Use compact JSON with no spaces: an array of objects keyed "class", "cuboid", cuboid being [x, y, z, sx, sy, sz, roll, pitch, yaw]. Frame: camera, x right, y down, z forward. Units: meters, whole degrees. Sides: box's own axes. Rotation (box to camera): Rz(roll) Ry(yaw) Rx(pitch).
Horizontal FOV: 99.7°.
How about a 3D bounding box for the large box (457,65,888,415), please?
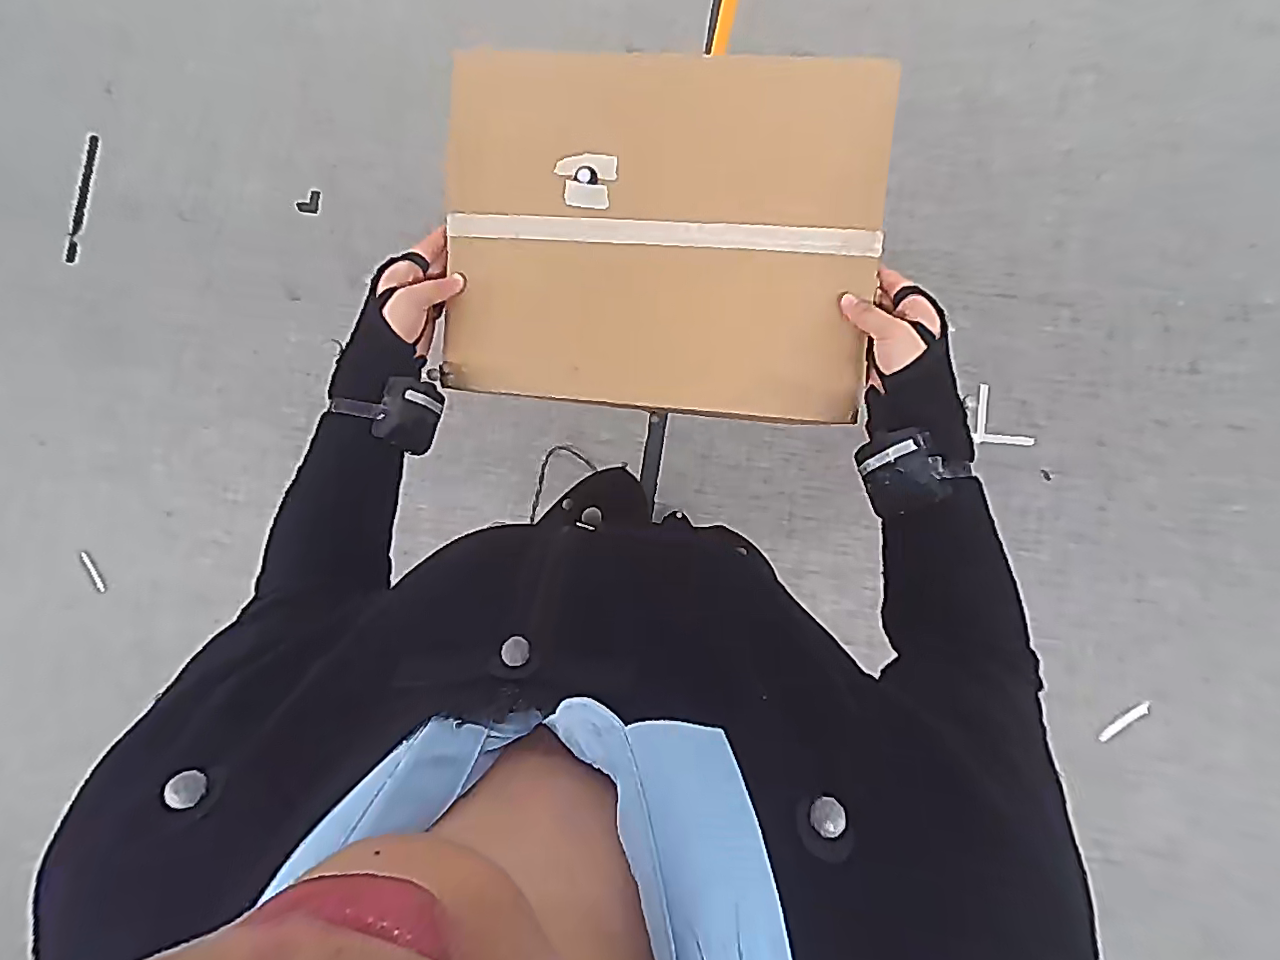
[{"class":"large box","cuboid":[0.037,-0.244,0.664,0.408,0.320,0.320,5,95,7]}]
